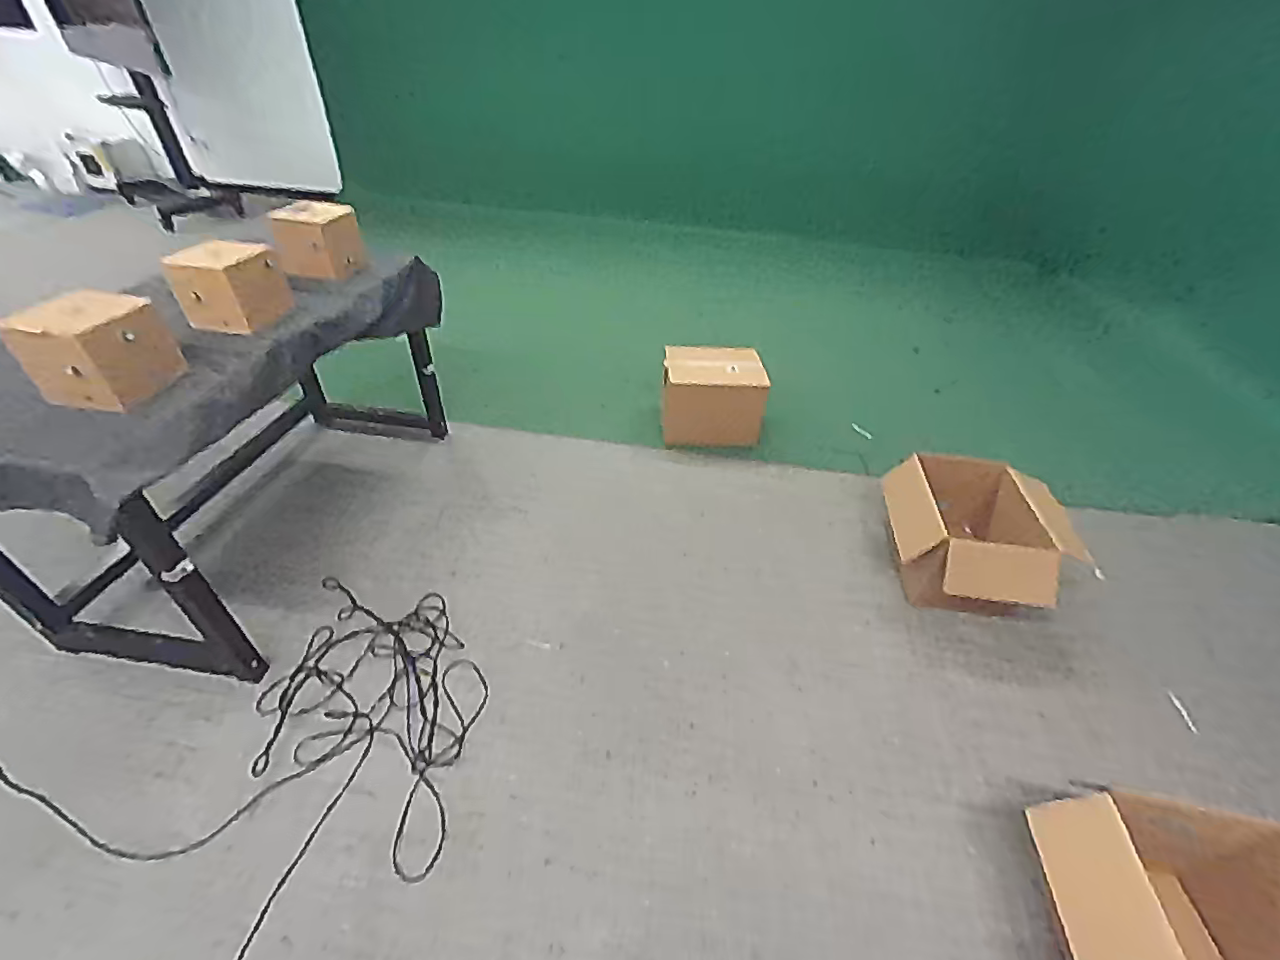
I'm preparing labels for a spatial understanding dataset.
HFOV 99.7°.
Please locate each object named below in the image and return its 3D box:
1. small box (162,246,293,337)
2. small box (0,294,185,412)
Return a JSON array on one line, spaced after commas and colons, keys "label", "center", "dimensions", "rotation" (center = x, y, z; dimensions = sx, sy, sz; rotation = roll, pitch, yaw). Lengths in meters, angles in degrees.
[{"label": "small box", "center": [-1.018, -0.472, 1.357], "dimensions": [0.168, 0.176, 0.179], "rotation": [8, 39, 5]}, {"label": "small box", "center": [-1.074, -0.253, 1.080], "dimensions": [0.168, 0.176, 0.179], "rotation": [8, 38, 3]}]
